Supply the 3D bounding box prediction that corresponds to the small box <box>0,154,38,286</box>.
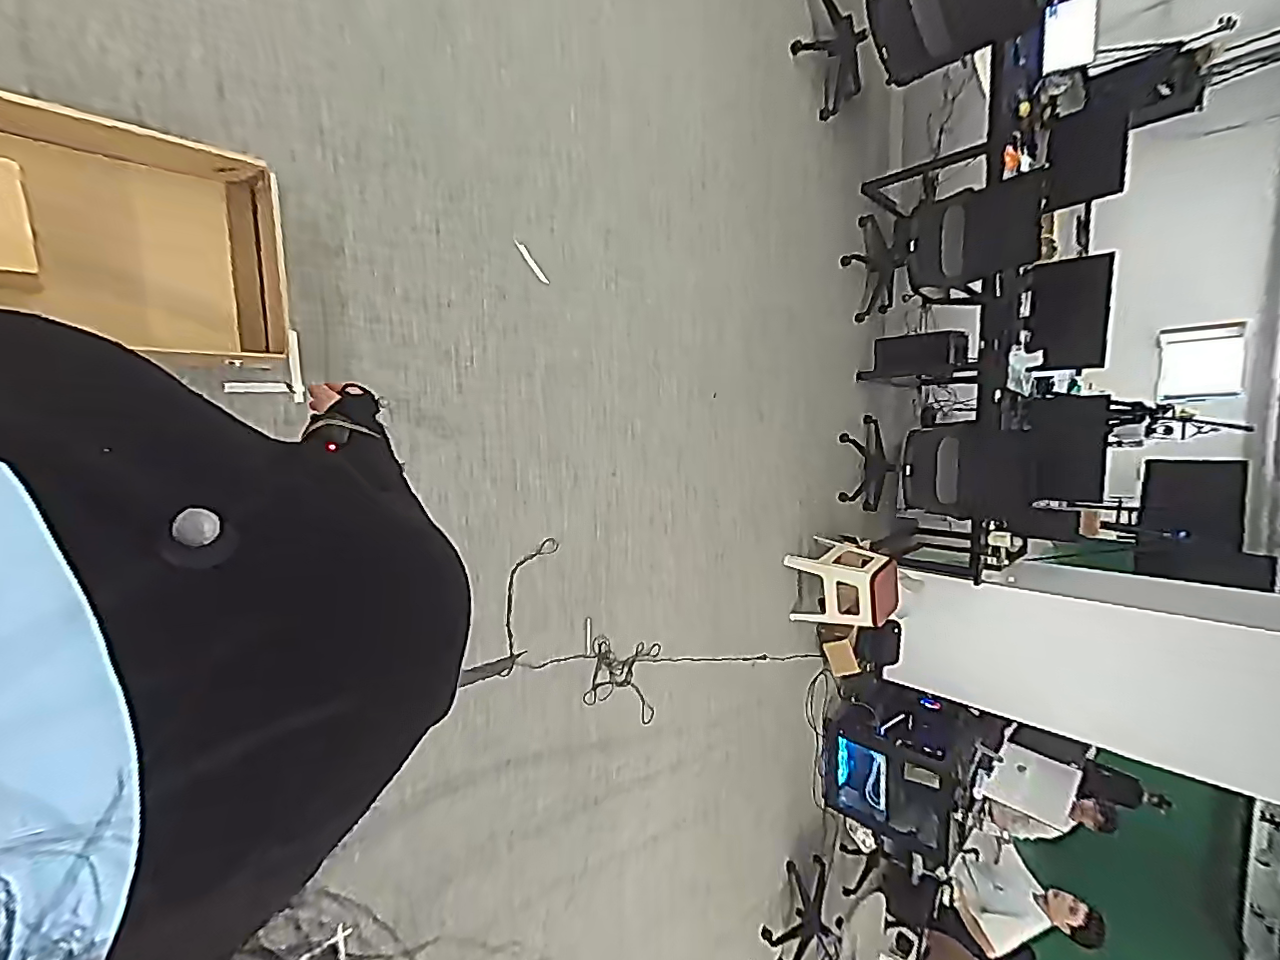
[{"bbox_3d":[-1.099,-0.420,0.863,0.168,0.176,0.179,-10,100,-45],"label":"small box"}]
